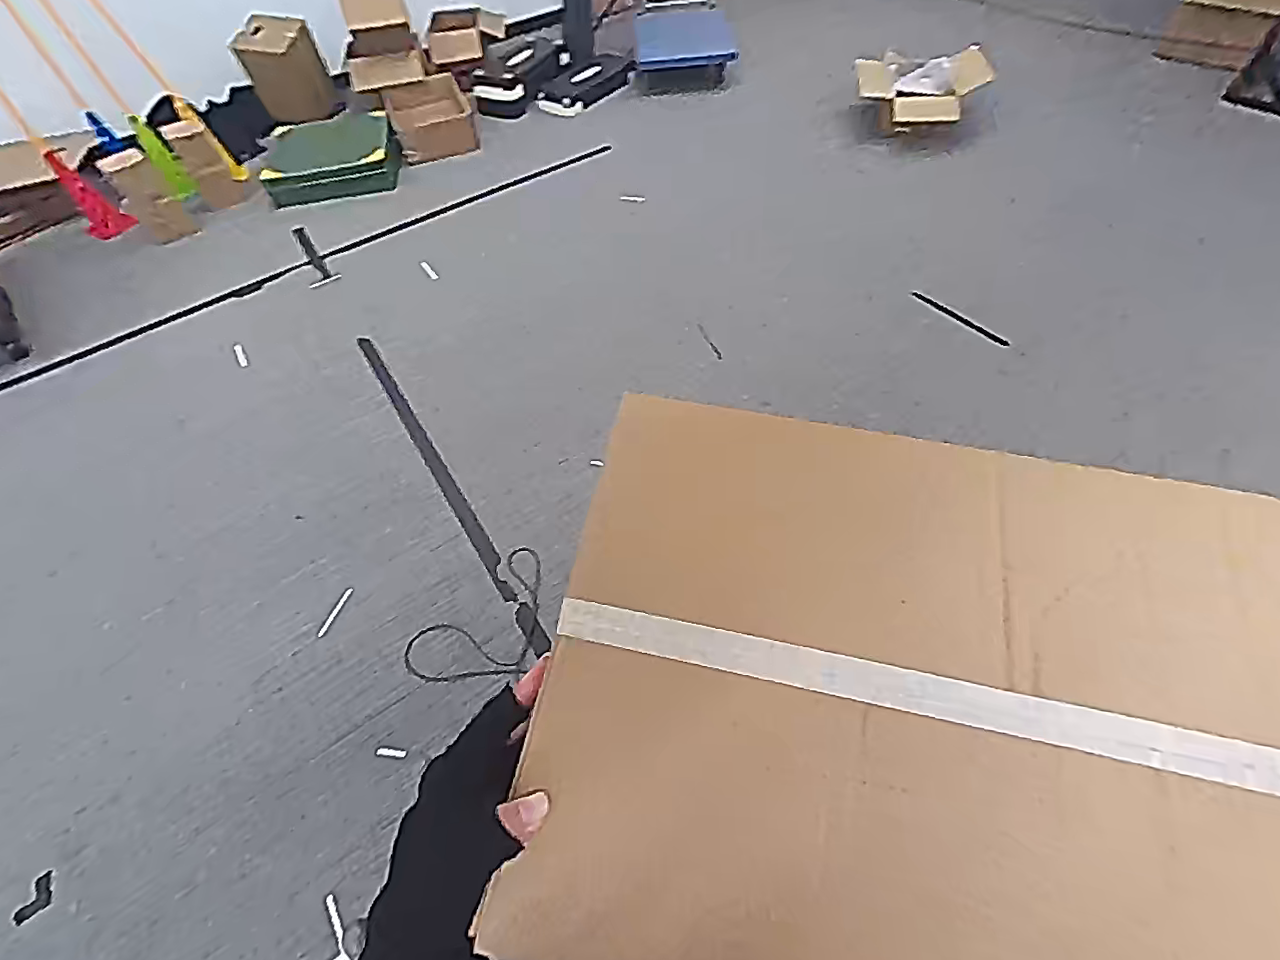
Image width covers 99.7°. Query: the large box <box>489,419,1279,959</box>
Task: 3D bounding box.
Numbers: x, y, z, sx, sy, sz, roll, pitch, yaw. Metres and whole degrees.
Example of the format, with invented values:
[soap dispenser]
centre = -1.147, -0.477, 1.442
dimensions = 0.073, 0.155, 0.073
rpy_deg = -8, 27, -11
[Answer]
[large box]
centre = 0.153, 0.181, 0.433
dimensions = 0.408, 0.320, 0.320
rpy_deg = 9, 67, 8
